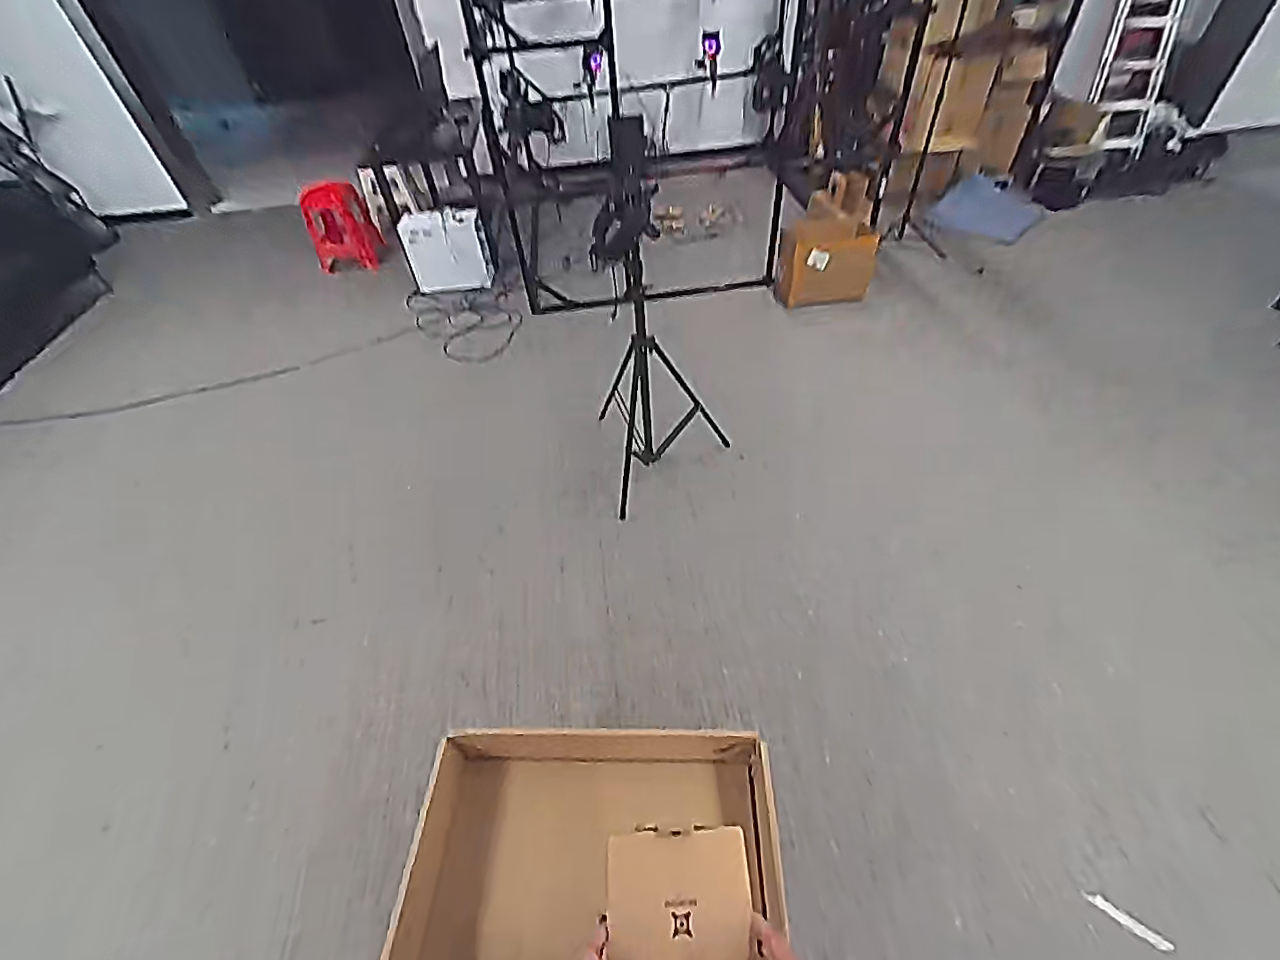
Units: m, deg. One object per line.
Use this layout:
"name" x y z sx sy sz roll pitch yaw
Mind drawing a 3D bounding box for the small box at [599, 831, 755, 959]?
"small box" 0.035 0.537 0.646 0.168 0.176 0.179 1 50 -4
